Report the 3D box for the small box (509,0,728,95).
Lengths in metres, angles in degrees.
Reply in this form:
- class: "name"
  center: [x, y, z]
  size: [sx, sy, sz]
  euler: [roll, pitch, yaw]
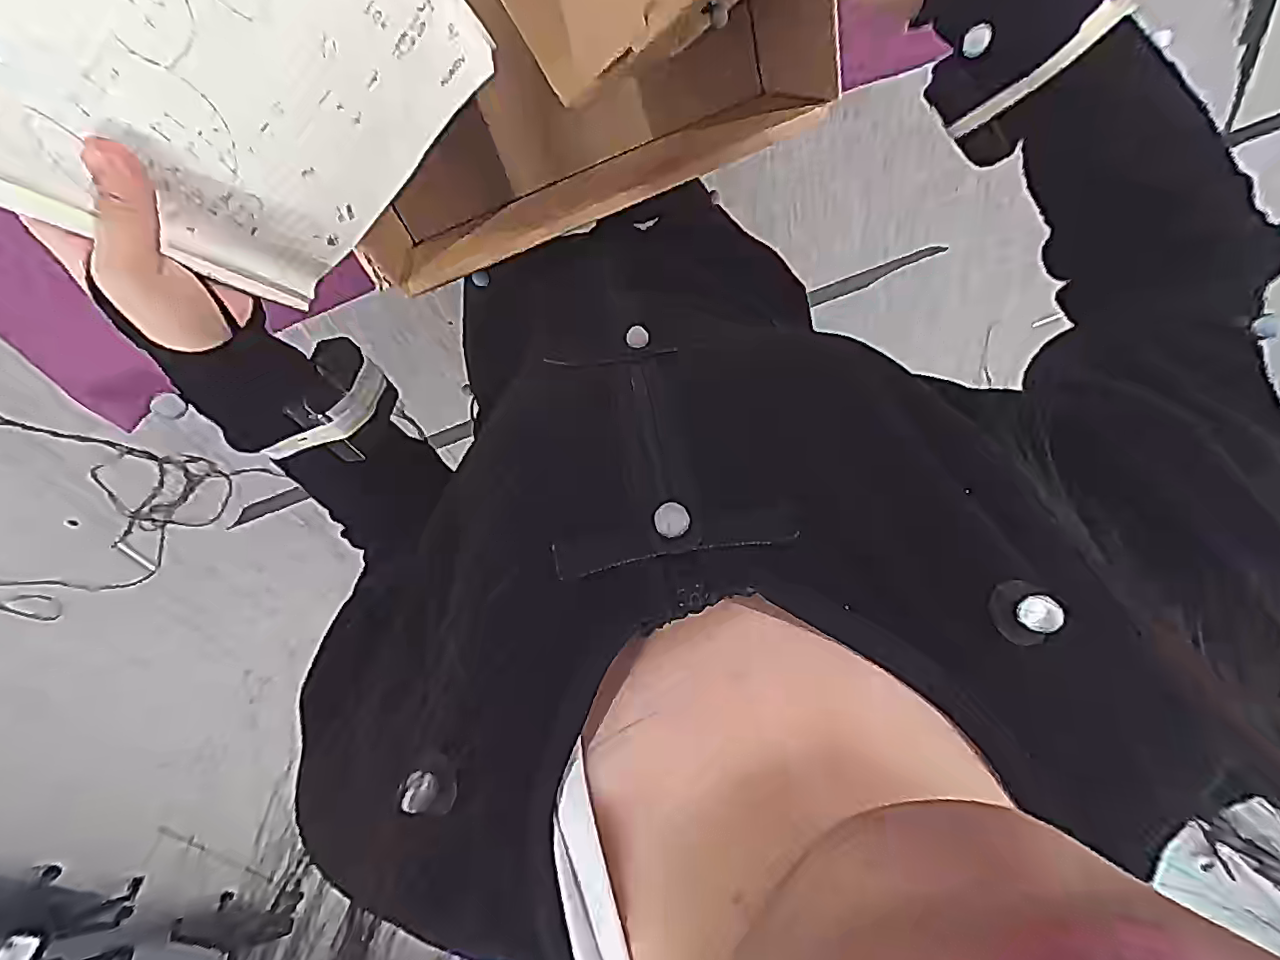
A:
- class: "small box"
  center: [0.002, -0.371, 0.301]
  size: [0.168, 0.176, 0.179]
  euler: [-11, 126, 45]
